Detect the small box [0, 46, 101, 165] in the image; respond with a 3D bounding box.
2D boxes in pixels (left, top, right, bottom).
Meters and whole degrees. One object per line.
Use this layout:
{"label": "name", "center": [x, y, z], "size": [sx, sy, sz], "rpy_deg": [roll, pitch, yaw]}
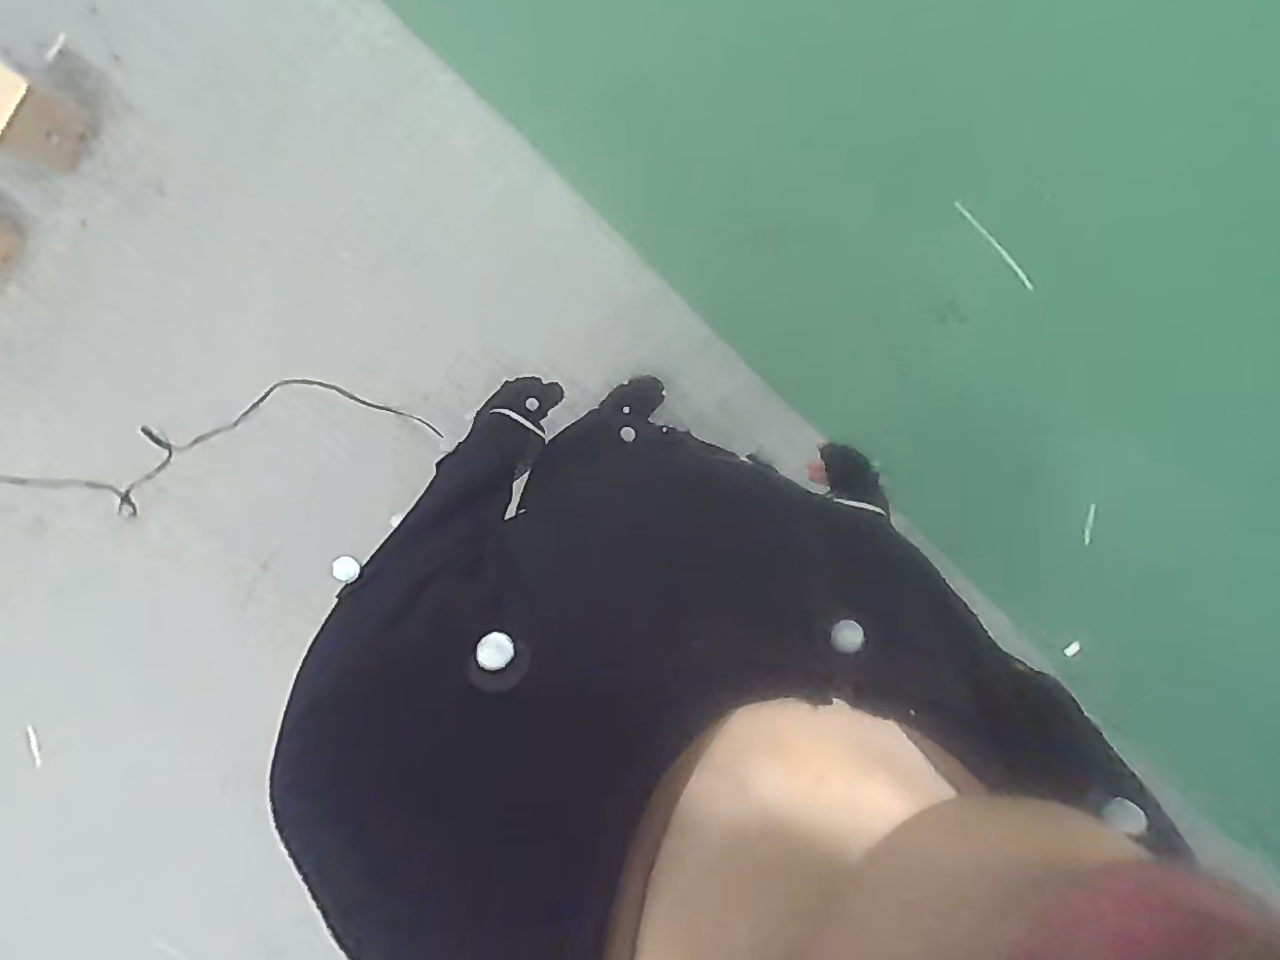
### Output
{"label": "small box", "center": [-1.426, -0.867, 1.246], "size": [0.179, 0.176, 0.168], "rpy_deg": [39, 95, -7]}
